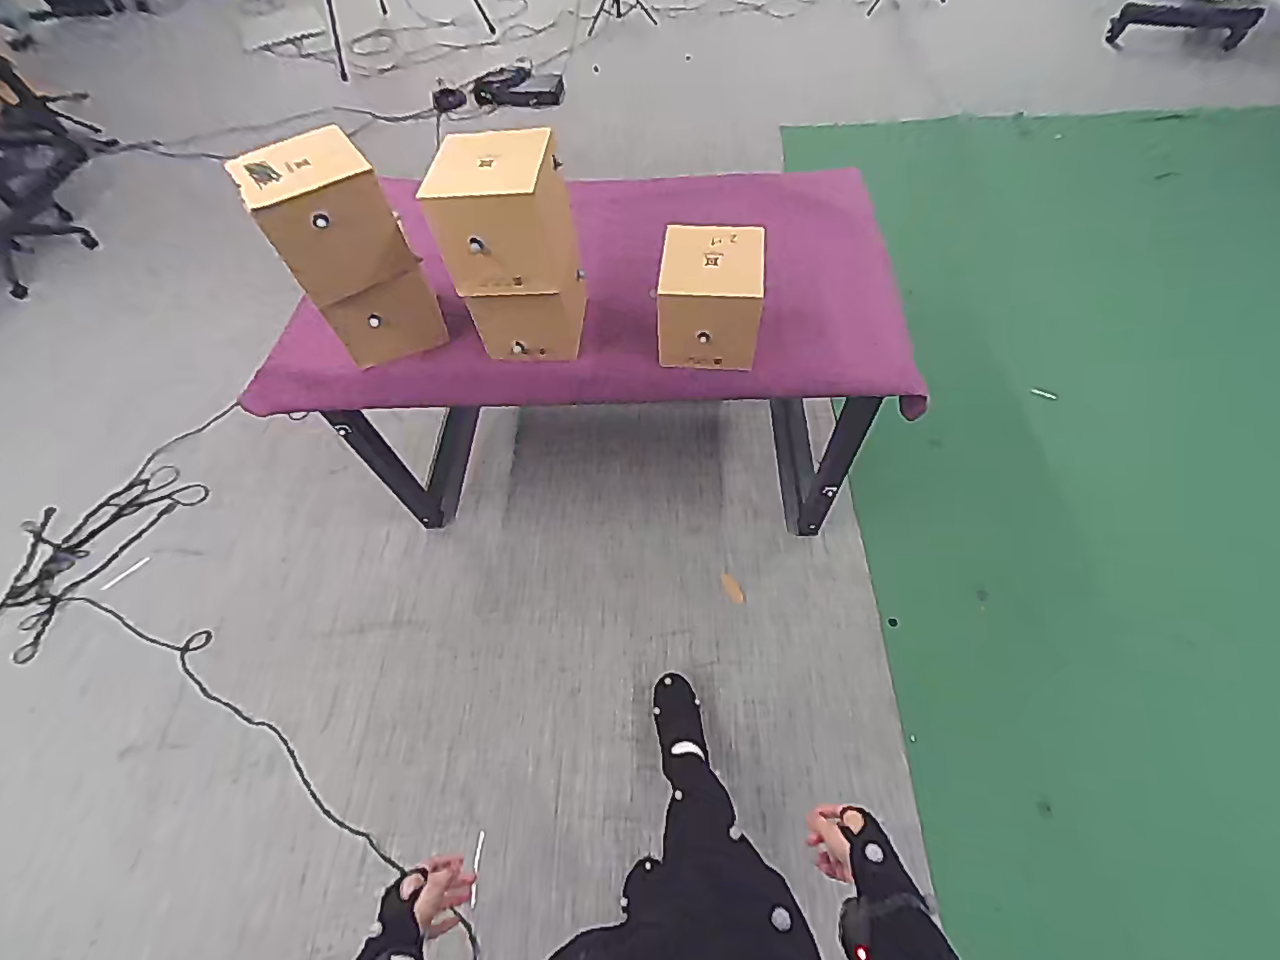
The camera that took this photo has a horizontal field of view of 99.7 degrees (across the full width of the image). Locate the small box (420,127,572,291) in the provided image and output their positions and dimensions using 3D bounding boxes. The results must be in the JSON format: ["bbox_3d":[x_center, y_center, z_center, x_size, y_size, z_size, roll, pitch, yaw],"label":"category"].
[{"bbox_3d":[-0.207,-0.410,0.835,0.168,0.176,0.179,0,57,5],"label":"small box"}]

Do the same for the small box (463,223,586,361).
[{"bbox_3d":[-0.197,-0.338,0.981,0.168,0.176,0.179,1,58,6],"label":"small box"}]

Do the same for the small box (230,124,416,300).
[{"bbox_3d":[-0.490,-0.417,0.854,0.179,0.176,0.168,-31,61,-16],"label":"small box"}]

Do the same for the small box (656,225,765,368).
[{"bbox_3d":[0.123,-0.315,0.944,0.168,0.176,0.179,5,59,6],"label":"small box"}]

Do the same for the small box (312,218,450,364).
[{"bbox_3d":[-0.478,-0.344,1.002,0.179,0.176,0.168,-21,59,-9],"label":"small box"}]
